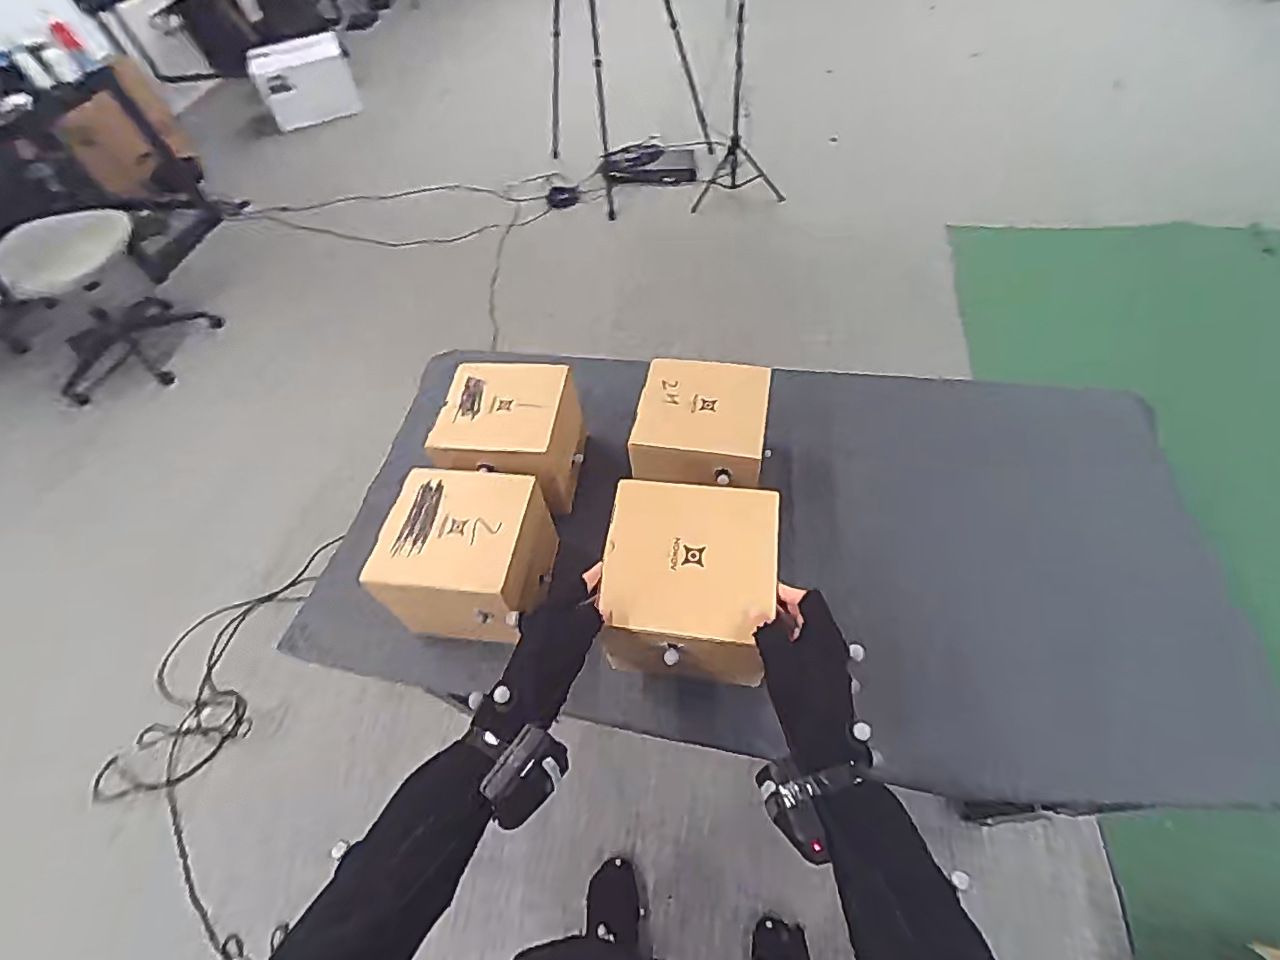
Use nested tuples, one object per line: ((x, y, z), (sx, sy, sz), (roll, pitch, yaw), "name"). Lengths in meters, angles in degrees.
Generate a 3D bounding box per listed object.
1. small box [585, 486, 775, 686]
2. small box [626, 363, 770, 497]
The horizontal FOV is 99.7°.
((0.053, 0.124, 0.610), (0.179, 0.176, 0.168), (4, 58, 11), "small box")
((0.089, -0.049, 0.803), (0.179, 0.176, 0.168), (7, 56, 11), "small box")
